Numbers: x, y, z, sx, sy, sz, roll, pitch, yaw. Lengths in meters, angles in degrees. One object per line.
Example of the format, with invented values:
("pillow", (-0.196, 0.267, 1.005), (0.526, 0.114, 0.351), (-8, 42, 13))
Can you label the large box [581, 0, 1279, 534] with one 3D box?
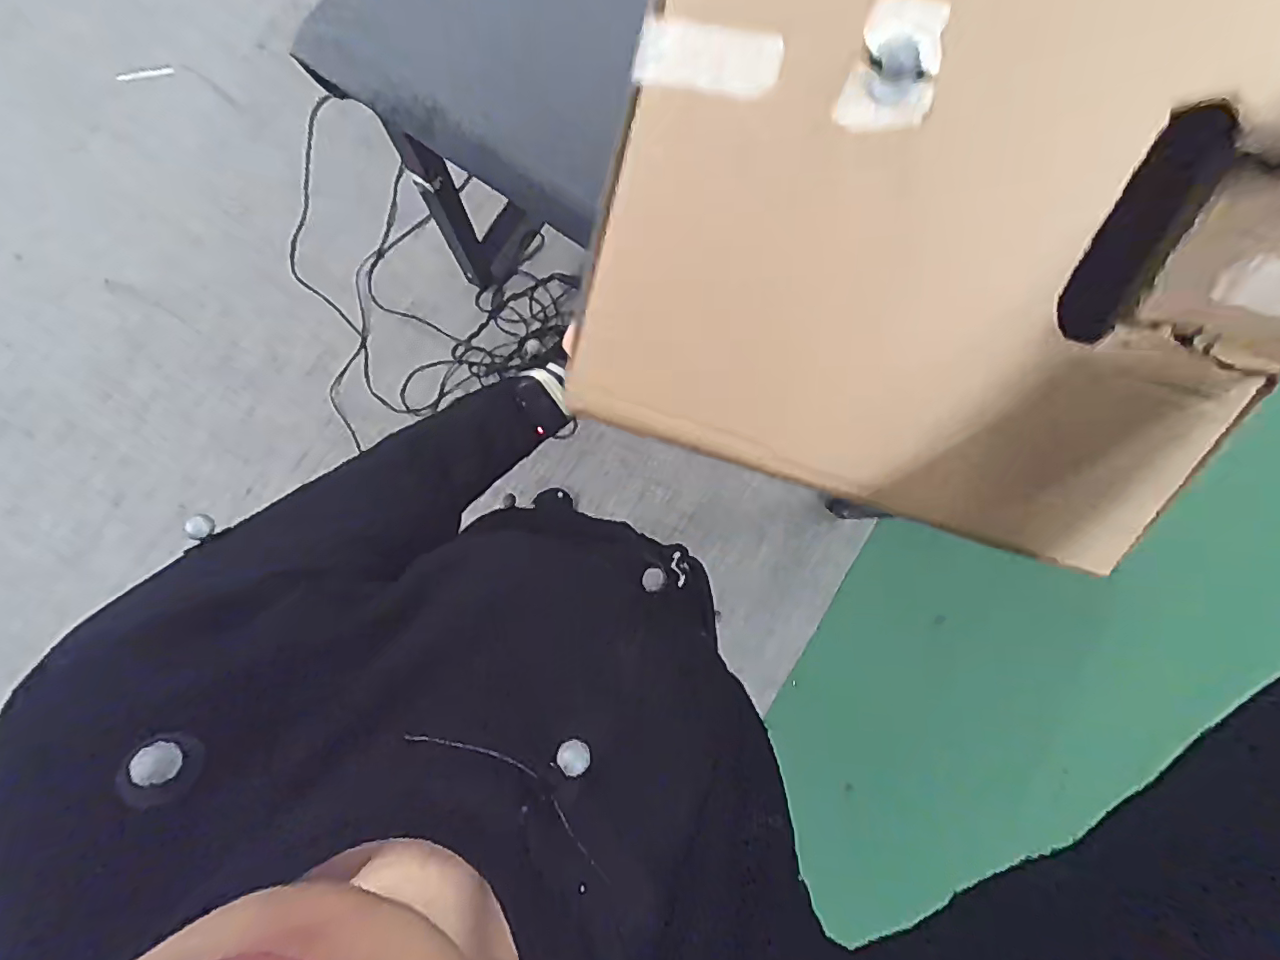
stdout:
("large box", (0.160, -0.220, 0.405), (0.320, 0.408, 0.320), (16, 115, -5))
